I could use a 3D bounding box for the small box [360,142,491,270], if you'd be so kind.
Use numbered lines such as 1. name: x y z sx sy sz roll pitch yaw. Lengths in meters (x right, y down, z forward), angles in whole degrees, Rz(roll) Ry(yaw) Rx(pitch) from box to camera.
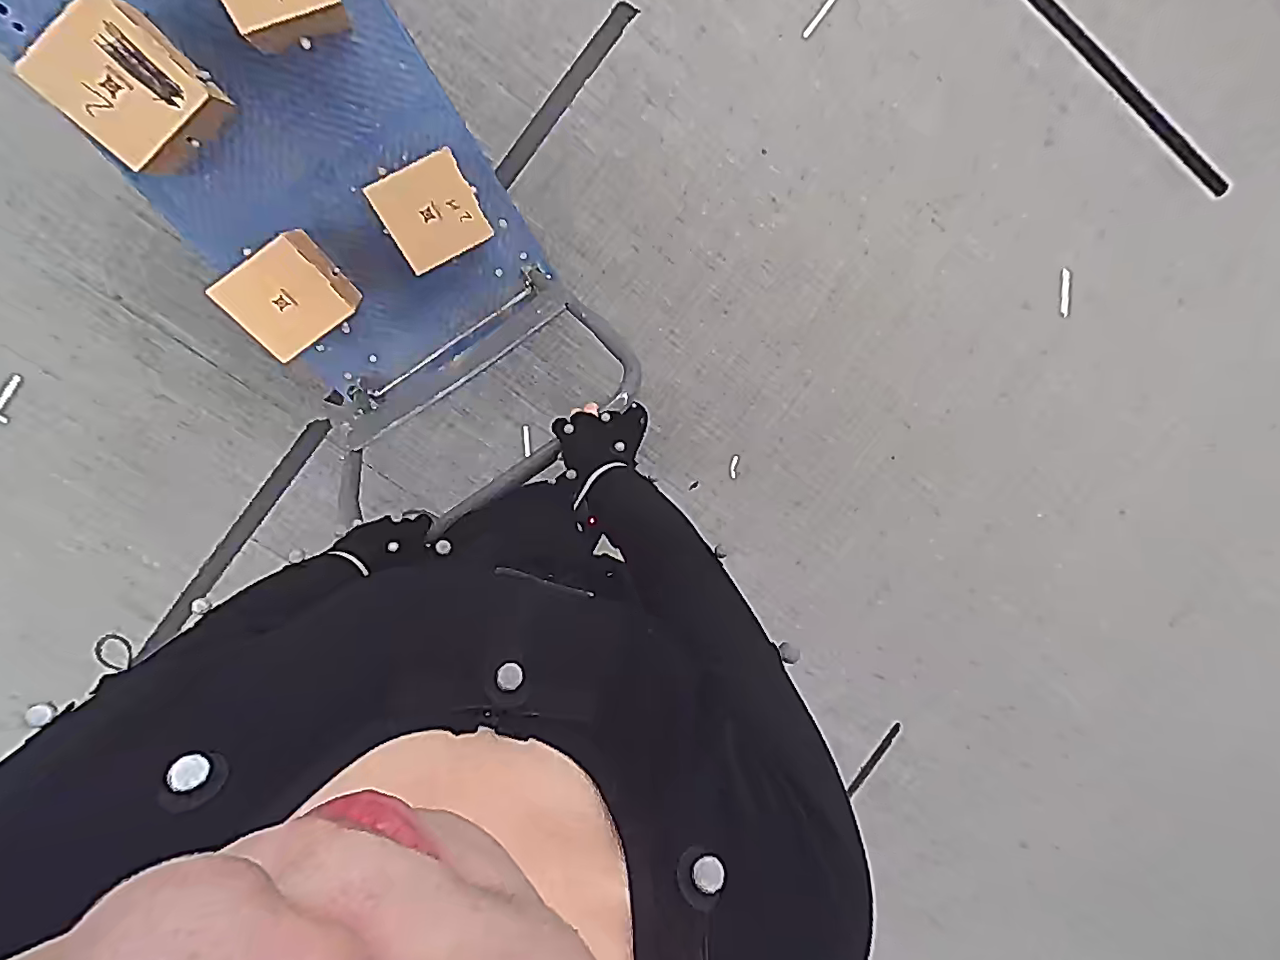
1. small box: -0.419 -0.541 1.074 0.179 0.176 0.168 -31 124 -4

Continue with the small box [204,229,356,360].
1. small box: -0.685 -0.366 1.058 0.179 0.176 0.168 -39 124 -1

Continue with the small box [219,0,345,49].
1. small box: -0.597 -0.824 0.851 0.168 0.176 0.179 -26 124 -7
